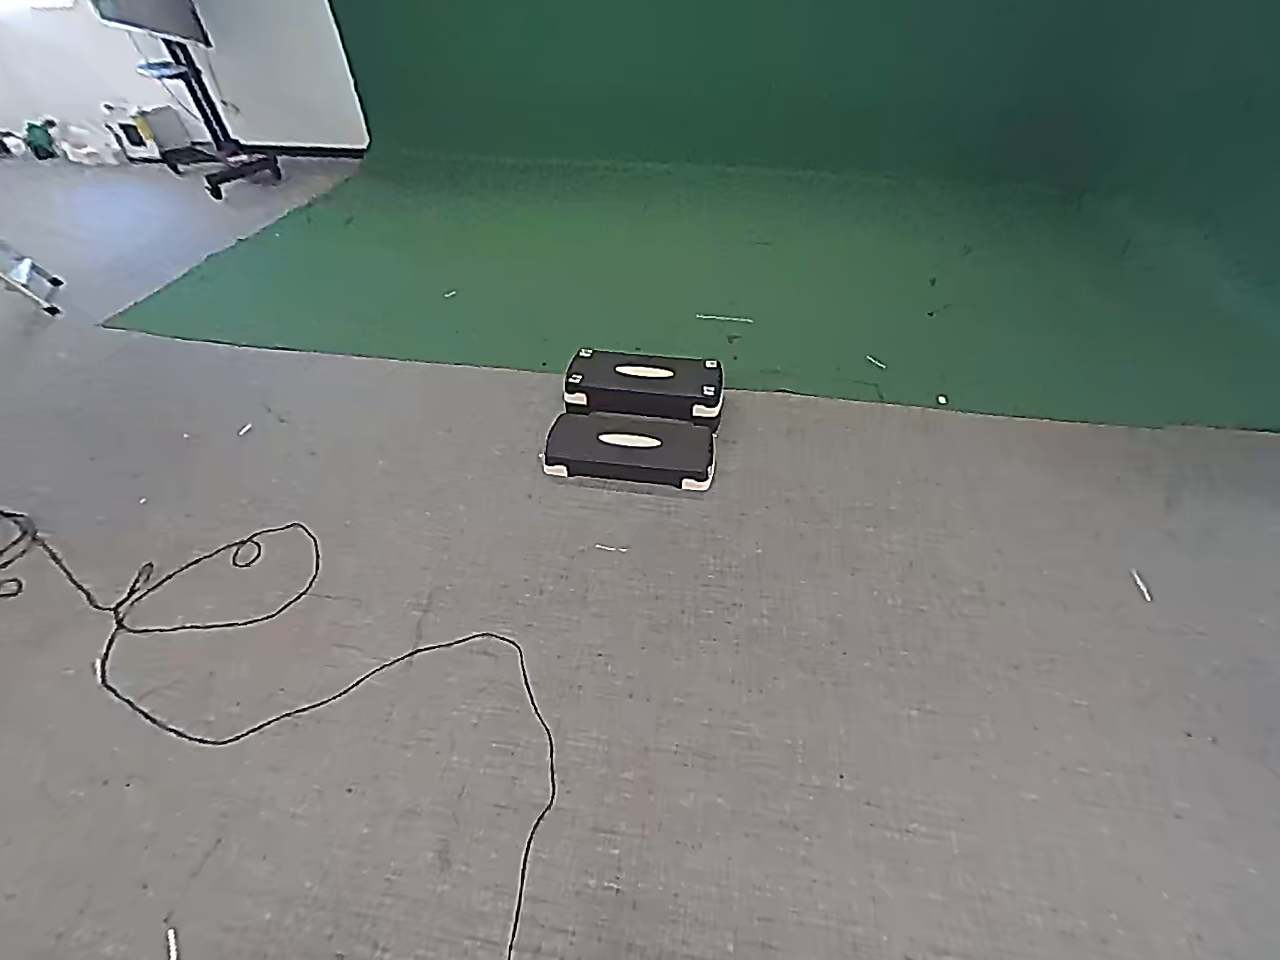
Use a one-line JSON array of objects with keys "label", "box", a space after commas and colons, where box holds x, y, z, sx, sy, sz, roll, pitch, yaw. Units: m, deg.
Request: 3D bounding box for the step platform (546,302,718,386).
[{"label": "step platform", "box": [-0.029, -0.566, 2.241, 0.684, 0.204, 0.286, 6, 46, 6]}]
